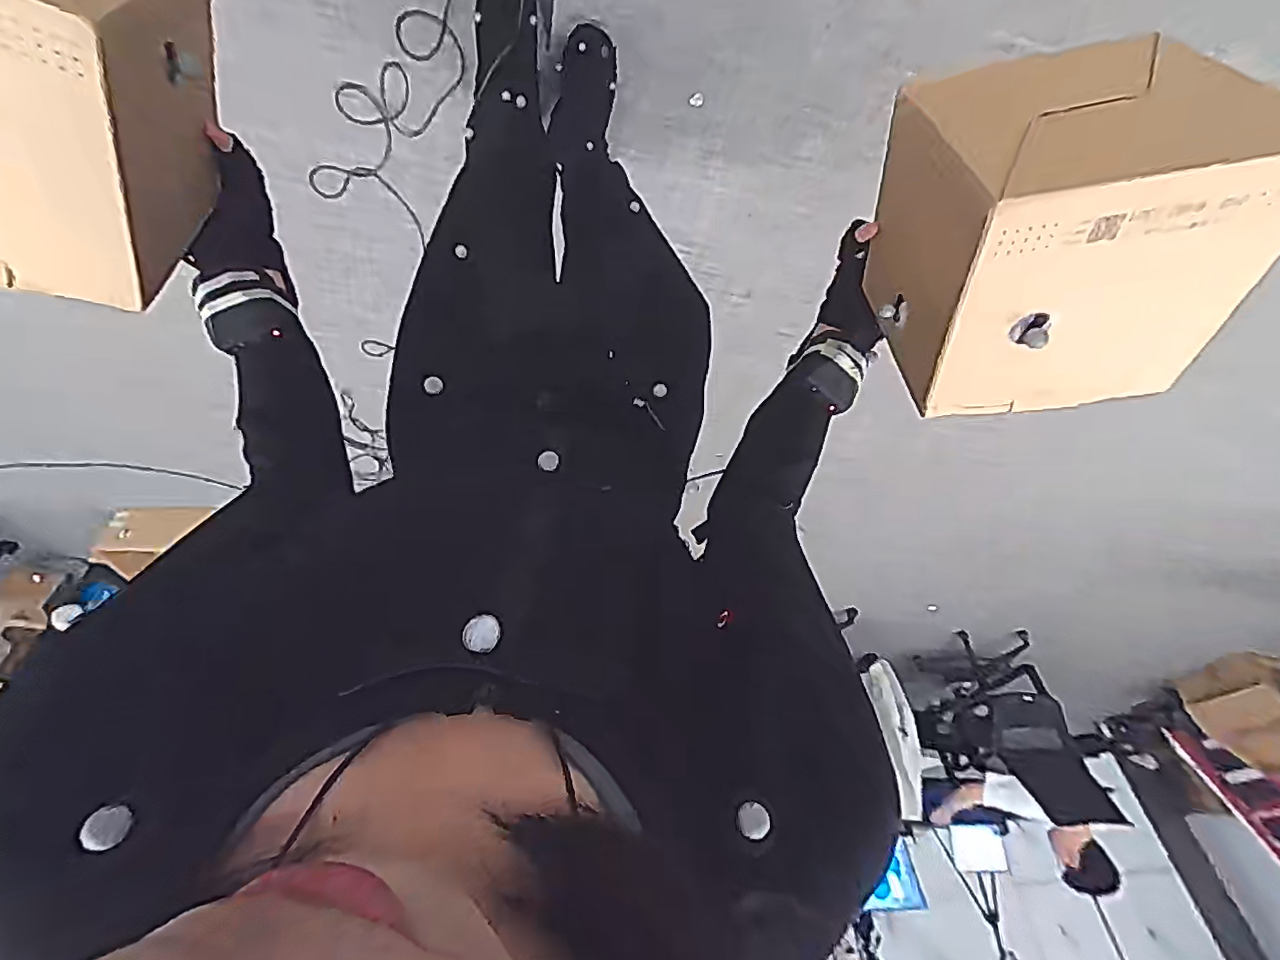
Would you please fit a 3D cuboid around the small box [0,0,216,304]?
[{"bbox_3d":[-0.364,-0.237,0.301,0.168,0.179,0.176,11,136,-29],"label":"small box"}]

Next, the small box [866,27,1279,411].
[{"bbox_3d":[0.273,-0.174,0.371,0.168,0.179,0.176,-5,141,6],"label":"small box"}]
